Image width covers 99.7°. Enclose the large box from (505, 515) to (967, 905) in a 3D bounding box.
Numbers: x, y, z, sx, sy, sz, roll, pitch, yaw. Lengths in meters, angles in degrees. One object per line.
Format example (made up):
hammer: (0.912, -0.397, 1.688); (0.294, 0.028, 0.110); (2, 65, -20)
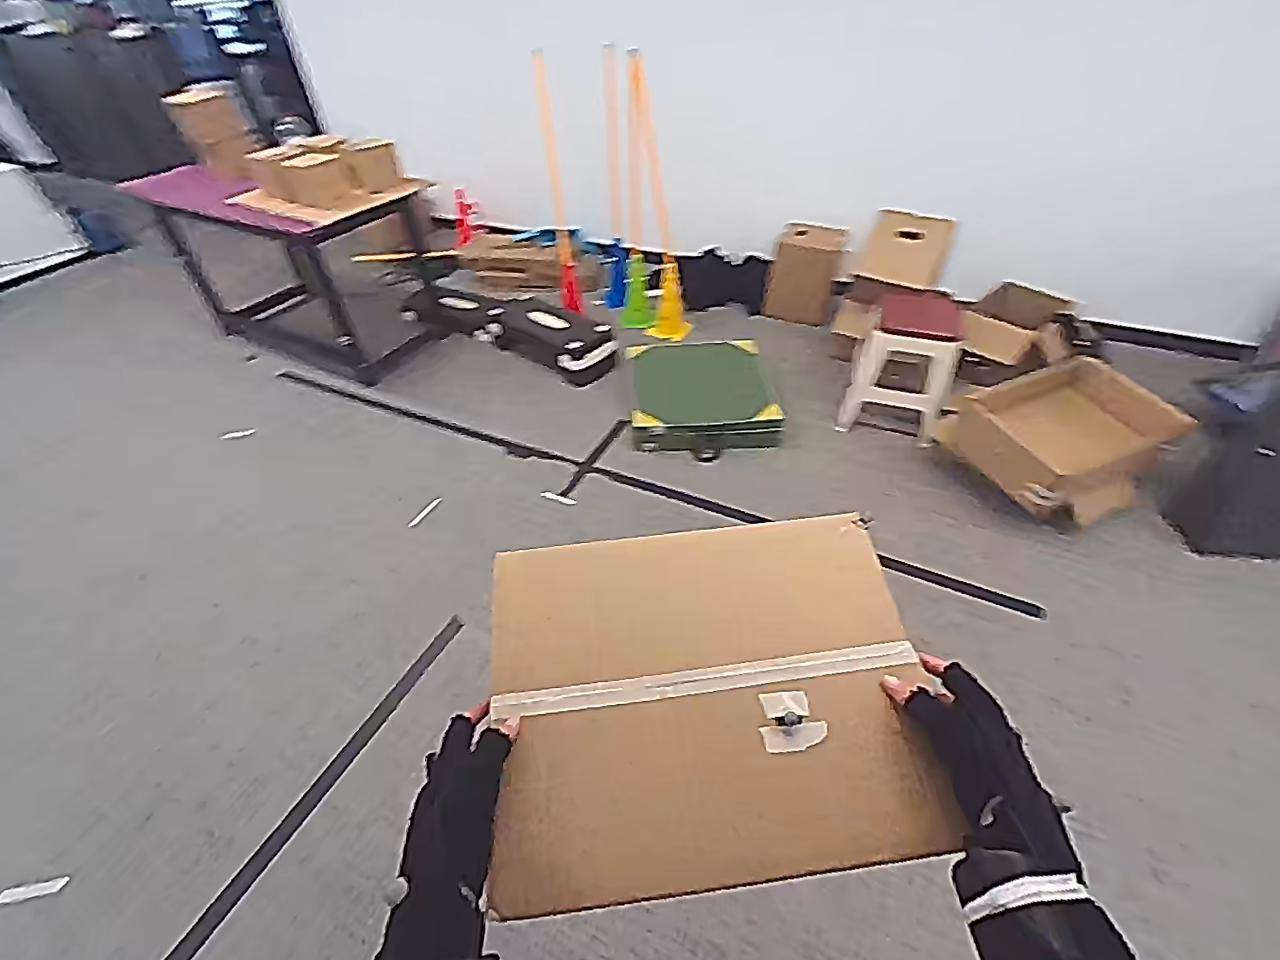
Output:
large box: (0.068, 0.271, 0.656); (0.408, 0.320, 0.320); (-6, 59, -4)
